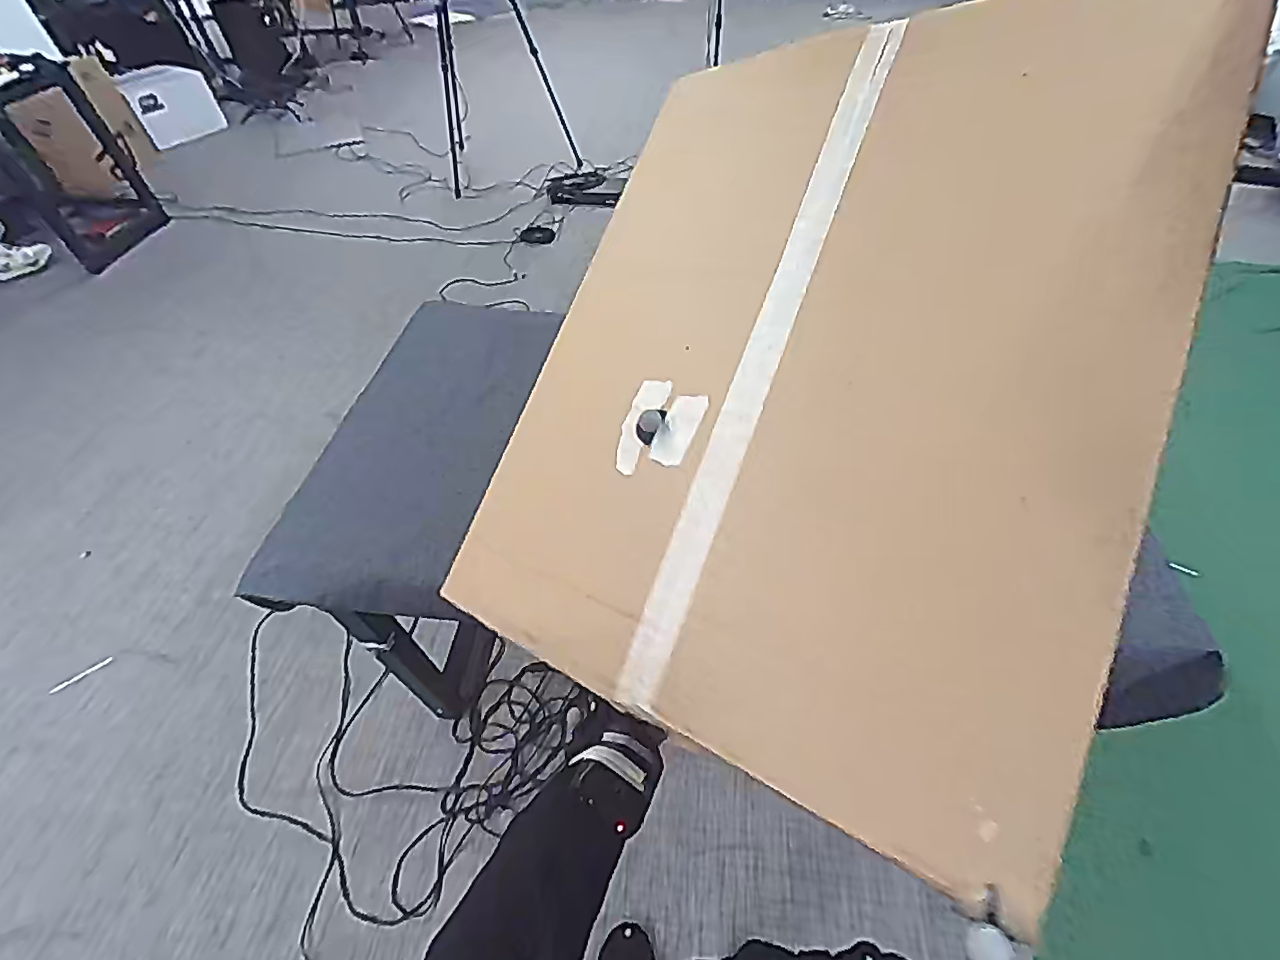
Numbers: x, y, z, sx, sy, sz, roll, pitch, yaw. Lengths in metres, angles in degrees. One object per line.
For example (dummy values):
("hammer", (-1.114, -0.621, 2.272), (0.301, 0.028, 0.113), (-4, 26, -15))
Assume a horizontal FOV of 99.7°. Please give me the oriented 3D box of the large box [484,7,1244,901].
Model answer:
("large box", (0.156, -0.024, 0.422), (0.320, 0.320, 0.408), (15, 80, 34))
